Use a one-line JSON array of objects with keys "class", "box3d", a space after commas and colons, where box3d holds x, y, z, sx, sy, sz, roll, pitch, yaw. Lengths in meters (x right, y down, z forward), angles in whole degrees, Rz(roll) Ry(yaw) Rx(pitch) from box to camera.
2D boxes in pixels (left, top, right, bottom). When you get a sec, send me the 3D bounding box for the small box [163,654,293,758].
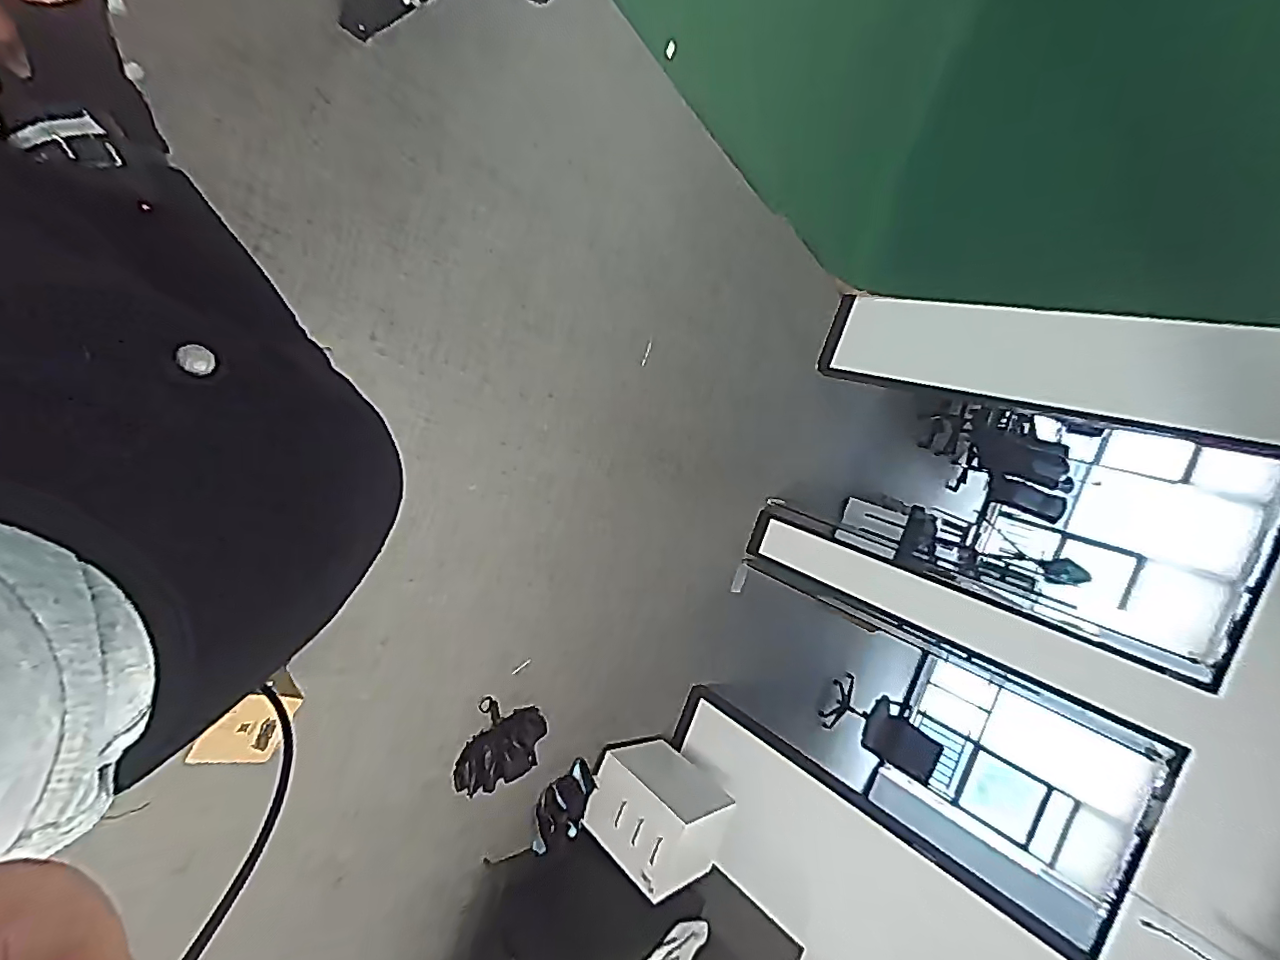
[{"class": "small box", "box3d": [-0.980, 0.534, 1.287, 0.179, 0.176, 0.168, 36, 78, -50]}]
